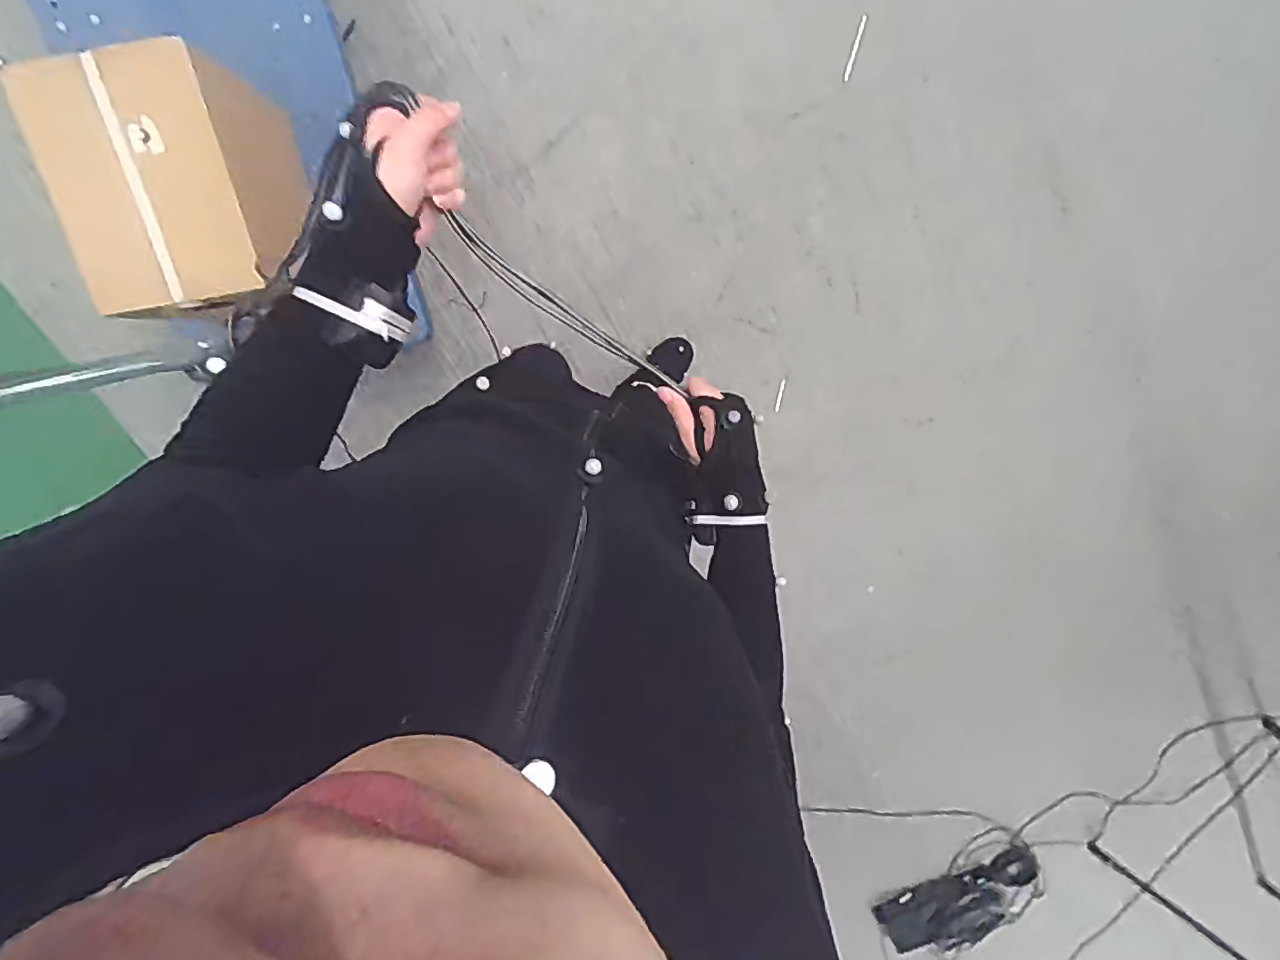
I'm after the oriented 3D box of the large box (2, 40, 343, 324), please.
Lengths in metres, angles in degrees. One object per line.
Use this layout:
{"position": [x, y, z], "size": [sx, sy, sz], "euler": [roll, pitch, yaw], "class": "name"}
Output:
{"position": [-0.869, -0.545, 1.079], "size": [0.320, 0.320, 0.408], "euler": [-10, 105, -1], "class": "large box"}
